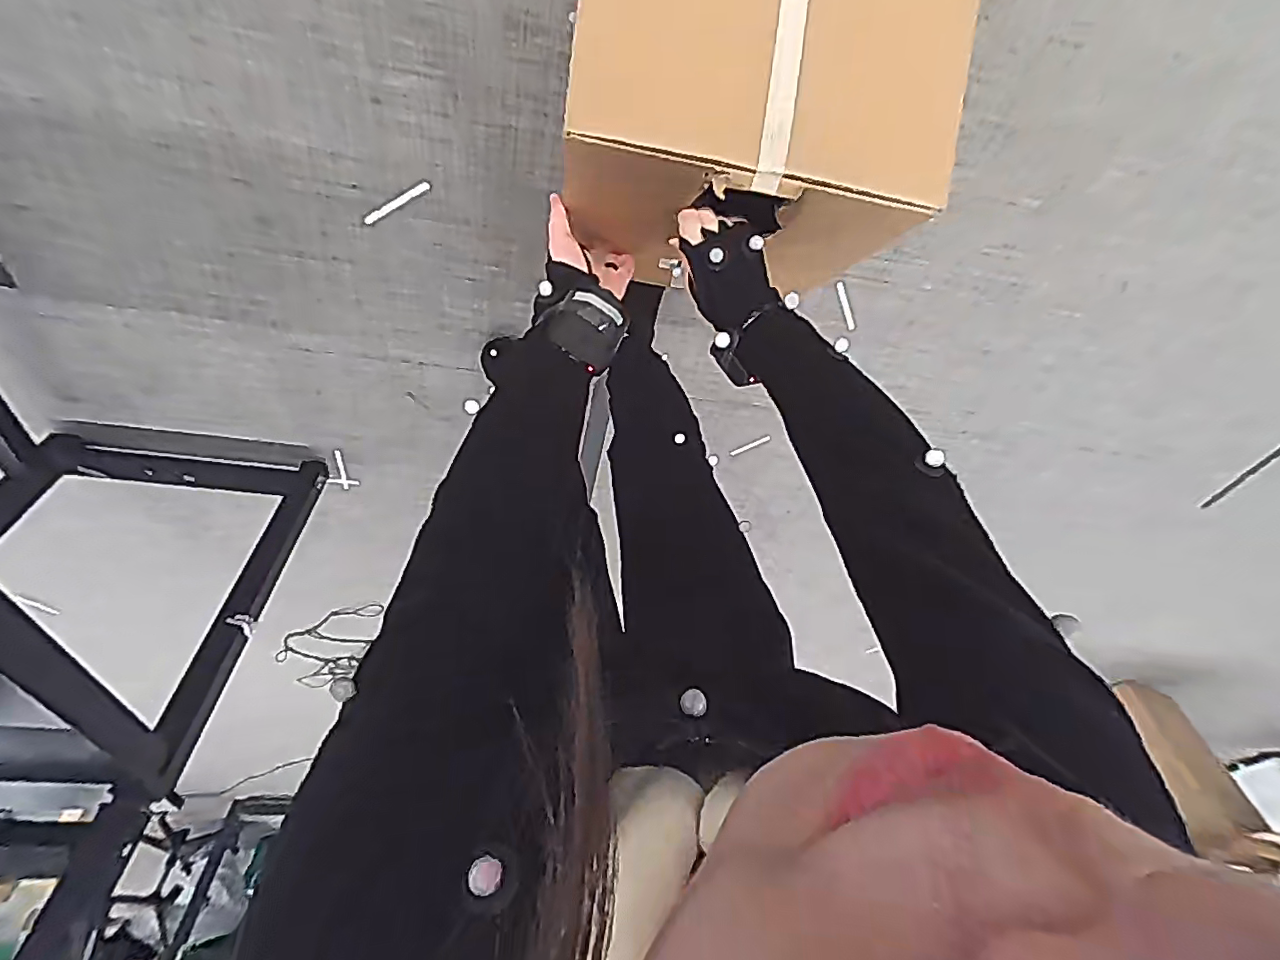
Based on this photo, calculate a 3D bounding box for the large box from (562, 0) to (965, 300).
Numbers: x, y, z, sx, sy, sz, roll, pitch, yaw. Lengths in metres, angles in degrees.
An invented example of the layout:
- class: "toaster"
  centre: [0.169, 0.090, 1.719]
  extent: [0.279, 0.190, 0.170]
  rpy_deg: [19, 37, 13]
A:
- class: "large box"
  centre: [0.093, -0.441, 0.554]
  extent: [0.320, 0.320, 0.408]
  rpy_deg: [6, 92, -9]
